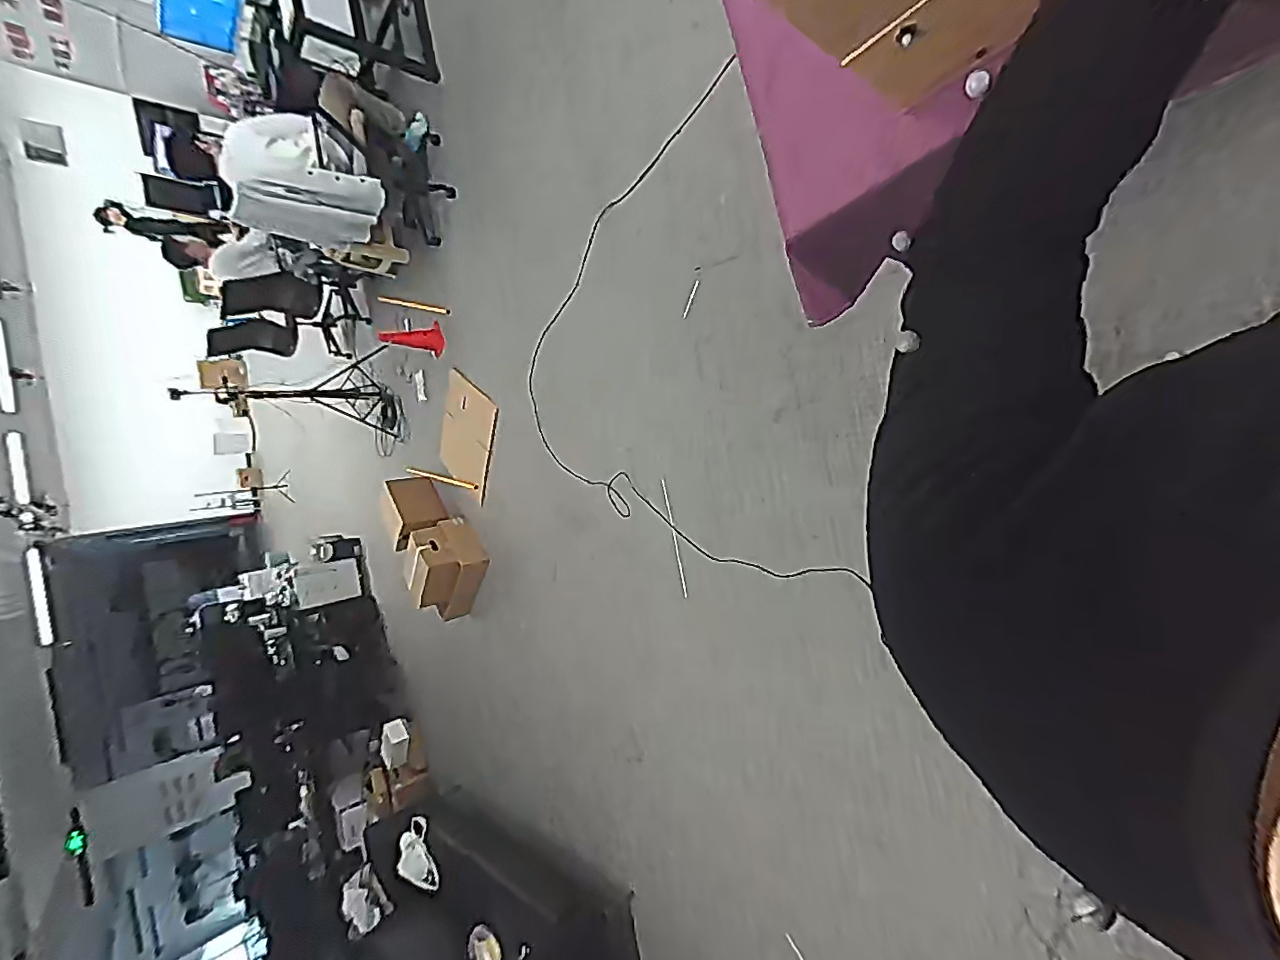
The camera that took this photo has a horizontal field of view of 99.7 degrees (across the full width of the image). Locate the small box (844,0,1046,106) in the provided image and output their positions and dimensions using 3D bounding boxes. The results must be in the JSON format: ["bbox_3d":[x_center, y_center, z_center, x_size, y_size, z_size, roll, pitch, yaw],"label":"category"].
[{"bbox_3d":[0.336,-0.583,0.620,0.168,0.176,0.179,-13,87,49],"label":"small box"}]

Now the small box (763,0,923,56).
[{"bbox_3d":[0.215,-0.563,0.510,0.179,0.176,0.168,-11,89,49],"label":"small box"}]
